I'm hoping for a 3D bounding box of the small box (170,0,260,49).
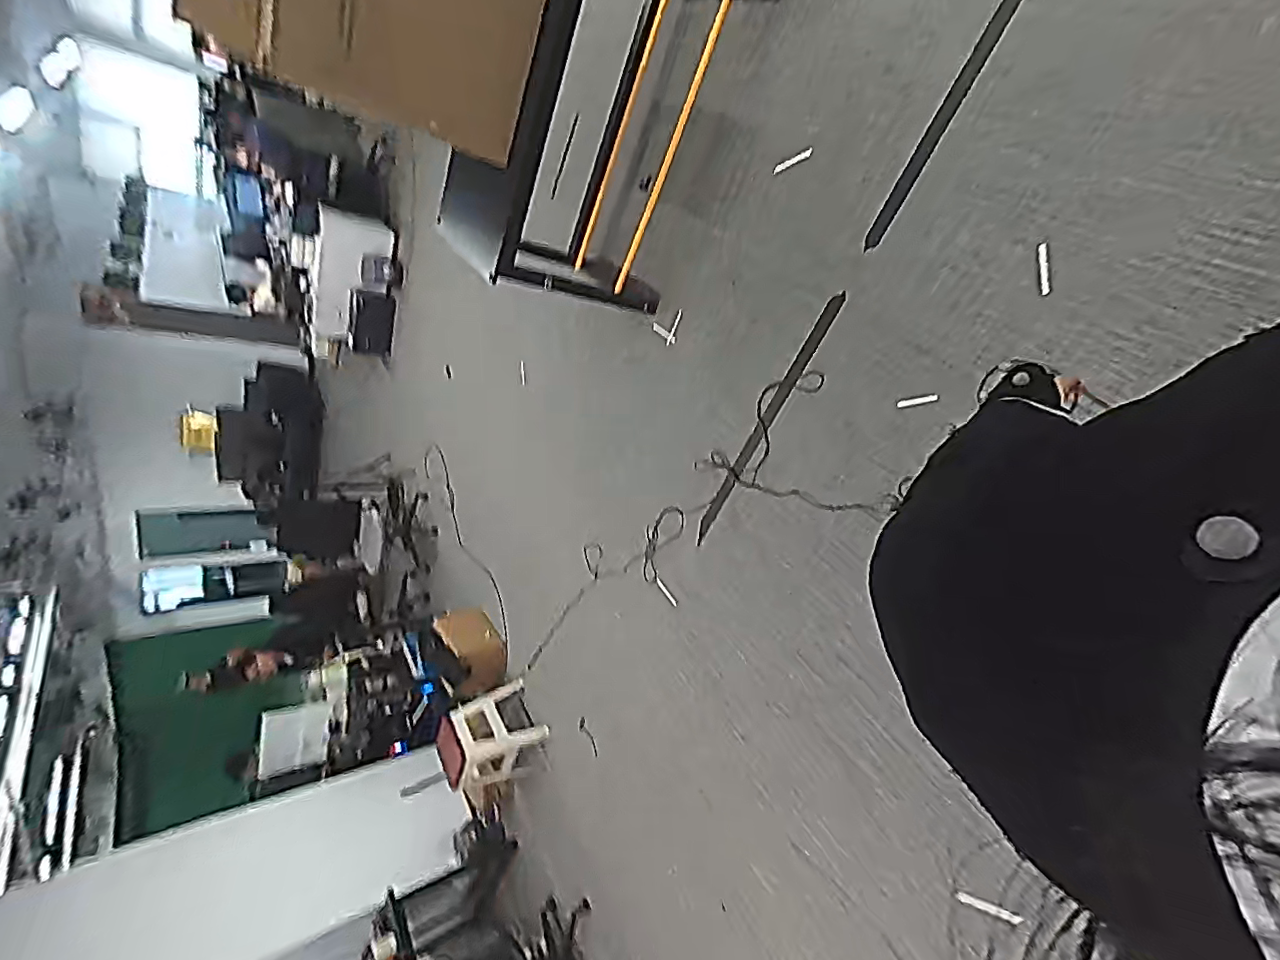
[{"bbox_3d":[-1.062,-1.218,1.353,0.179,0.176,0.168,47,124,40],"label":"small box"}]
